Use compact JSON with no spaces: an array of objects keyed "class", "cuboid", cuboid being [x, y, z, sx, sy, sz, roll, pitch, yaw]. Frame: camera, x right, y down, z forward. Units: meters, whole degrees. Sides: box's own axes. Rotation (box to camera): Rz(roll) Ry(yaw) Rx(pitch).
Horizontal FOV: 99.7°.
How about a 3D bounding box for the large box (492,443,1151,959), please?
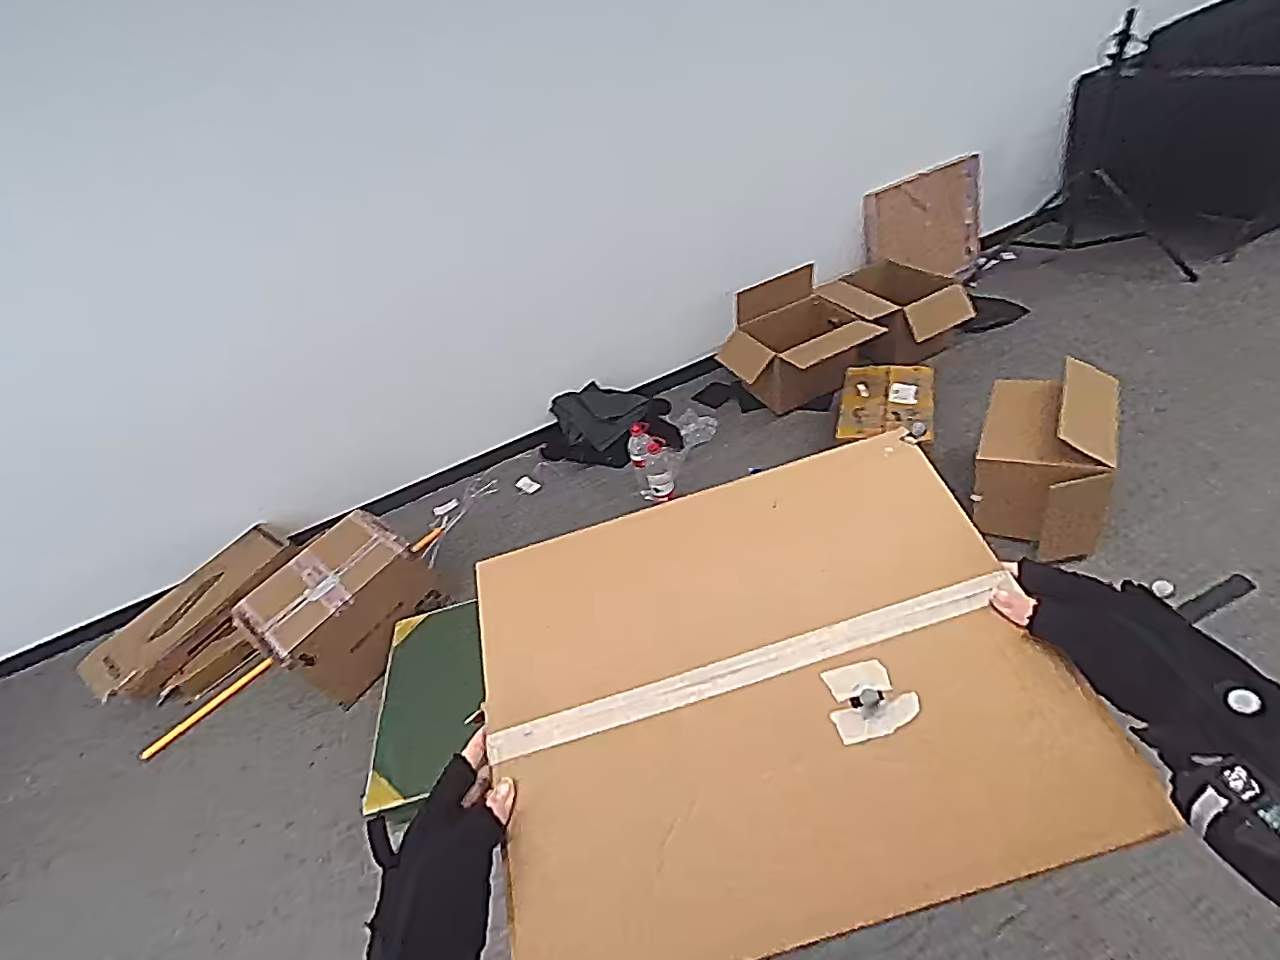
[{"class":"large box","cuboid":[0.114,0.226,0.535,0.408,0.320,0.320,-18,57,0]}]
